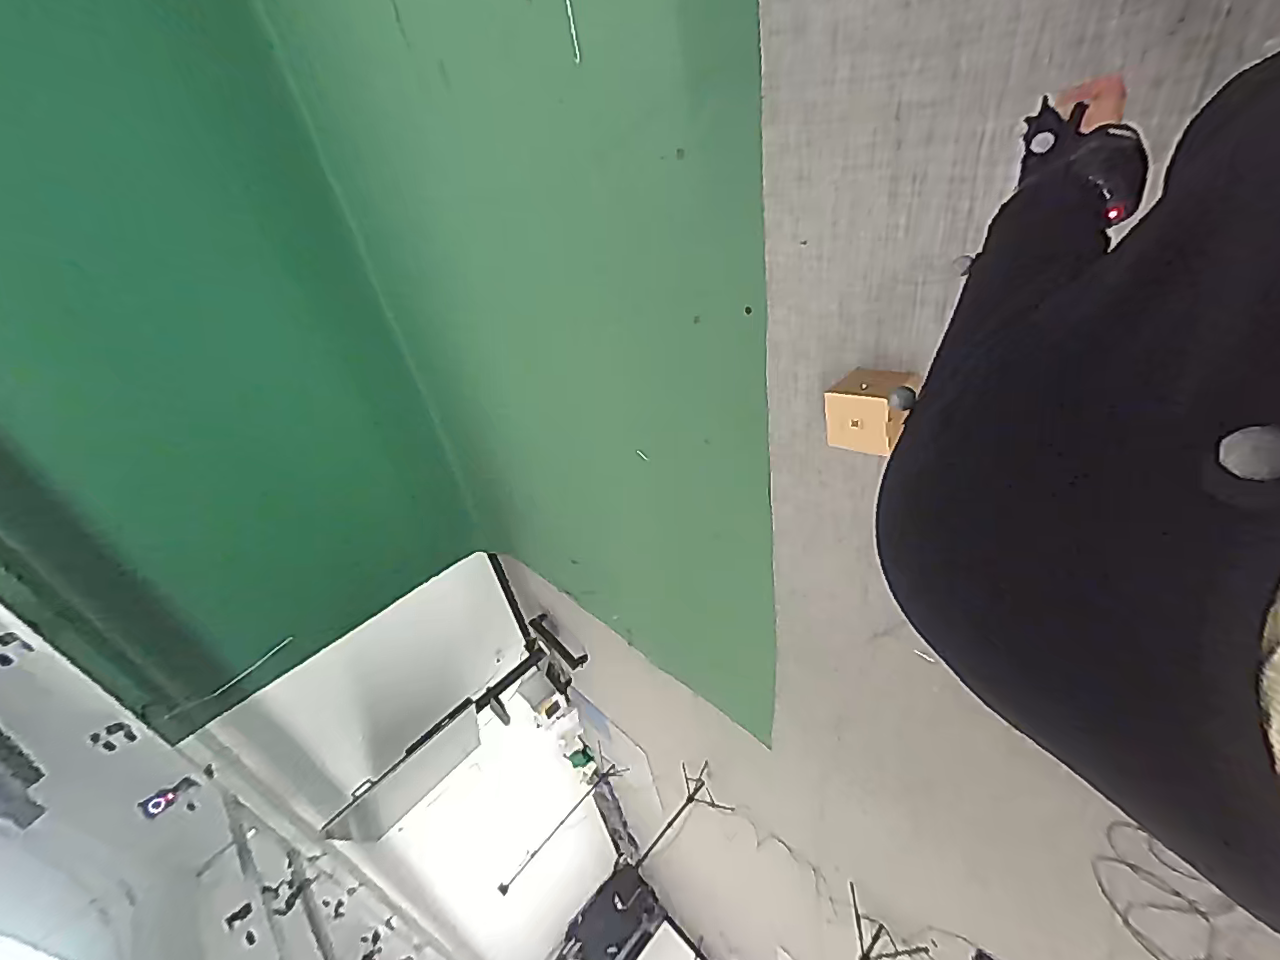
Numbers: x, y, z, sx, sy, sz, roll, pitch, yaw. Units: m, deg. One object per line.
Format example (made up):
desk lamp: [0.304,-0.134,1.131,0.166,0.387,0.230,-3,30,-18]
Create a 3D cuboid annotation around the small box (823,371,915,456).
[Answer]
small box: [0.621,-0.187,1.458,0.179,0.176,0.168,18,131,46]
